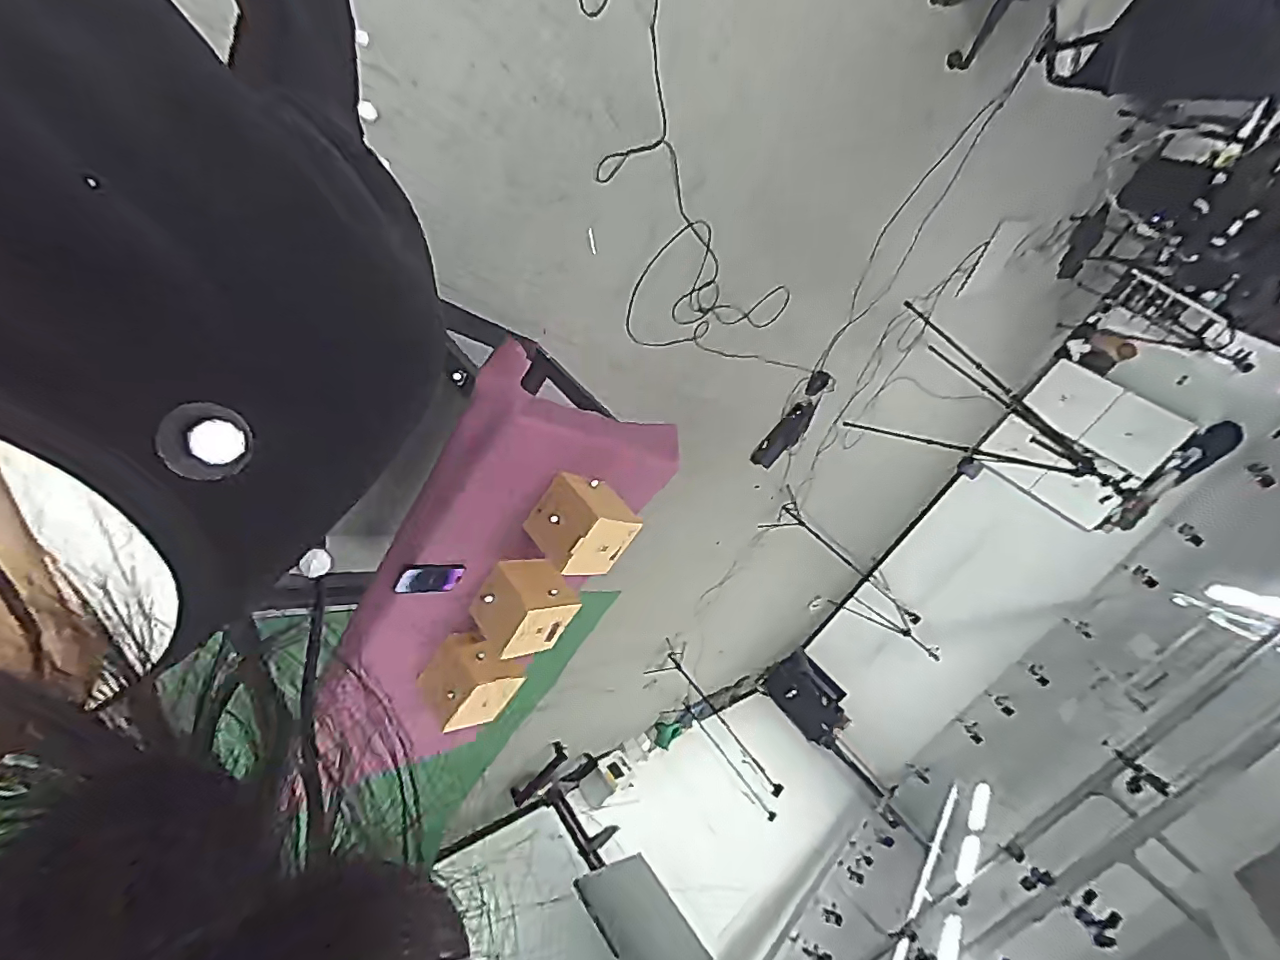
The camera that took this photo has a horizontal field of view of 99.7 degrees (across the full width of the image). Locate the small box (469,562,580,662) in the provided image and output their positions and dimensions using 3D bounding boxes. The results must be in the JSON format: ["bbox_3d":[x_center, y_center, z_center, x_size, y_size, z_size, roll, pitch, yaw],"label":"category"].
[{"bbox_3d":[-0.288,0.318,1.341,0.179,0.176,0.168,8,121,-52],"label":"small box"}]

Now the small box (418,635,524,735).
[{"bbox_3d":[-0.441,0.519,1.400,0.179,0.176,0.168,-52,147,12],"label":"small box"}]

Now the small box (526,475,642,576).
[{"bbox_3d":[-0.136,0.107,1.272,0.168,0.176,0.179,-53,147,14],"label":"small box"}]
